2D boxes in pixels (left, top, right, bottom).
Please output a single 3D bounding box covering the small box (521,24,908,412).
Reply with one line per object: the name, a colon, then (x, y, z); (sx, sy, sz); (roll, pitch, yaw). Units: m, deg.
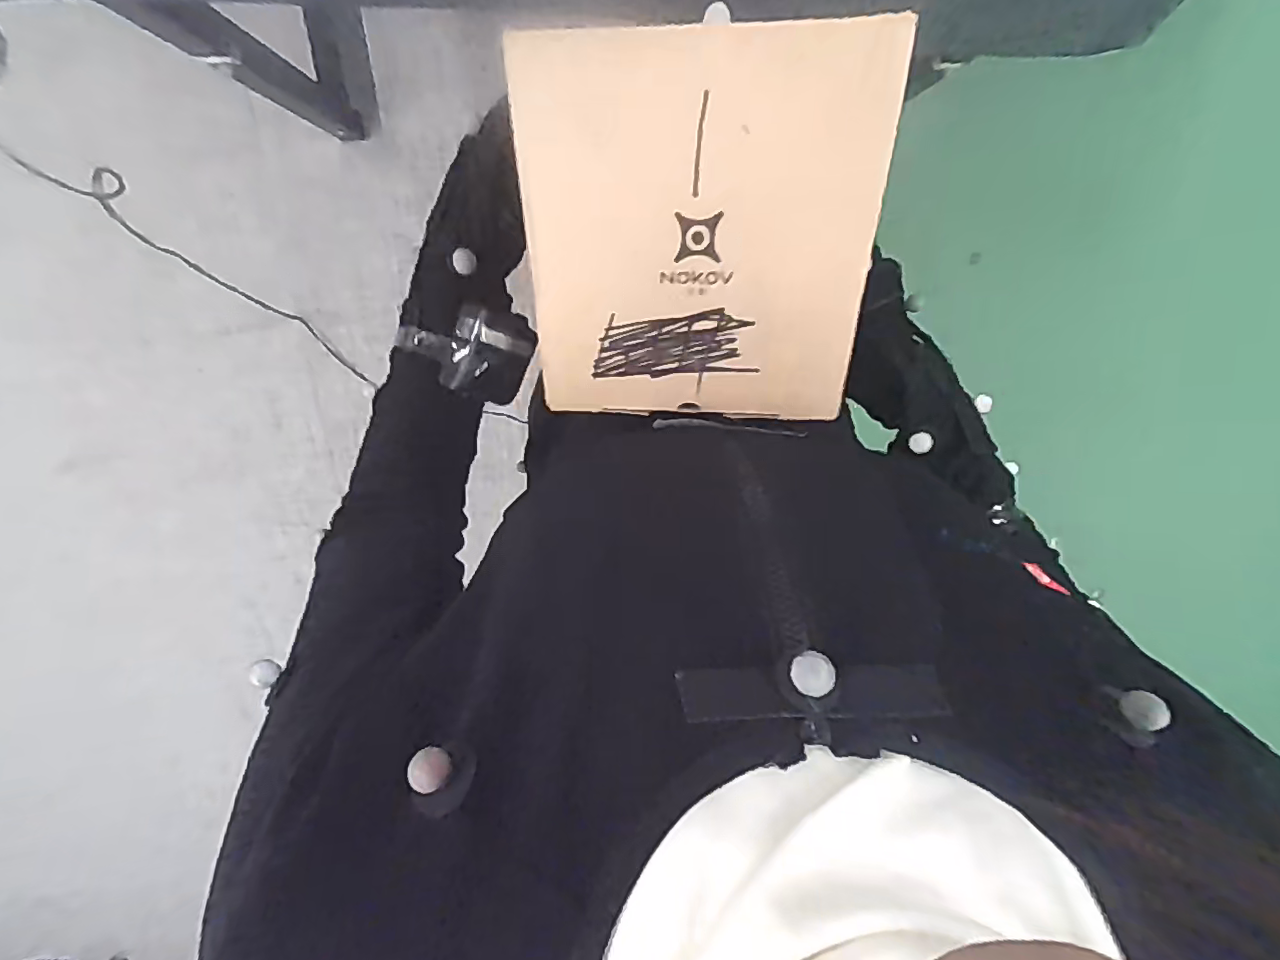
small box: (0.036, -0.159, 0.337); (0.168, 0.176, 0.179); (2, 122, 4)
